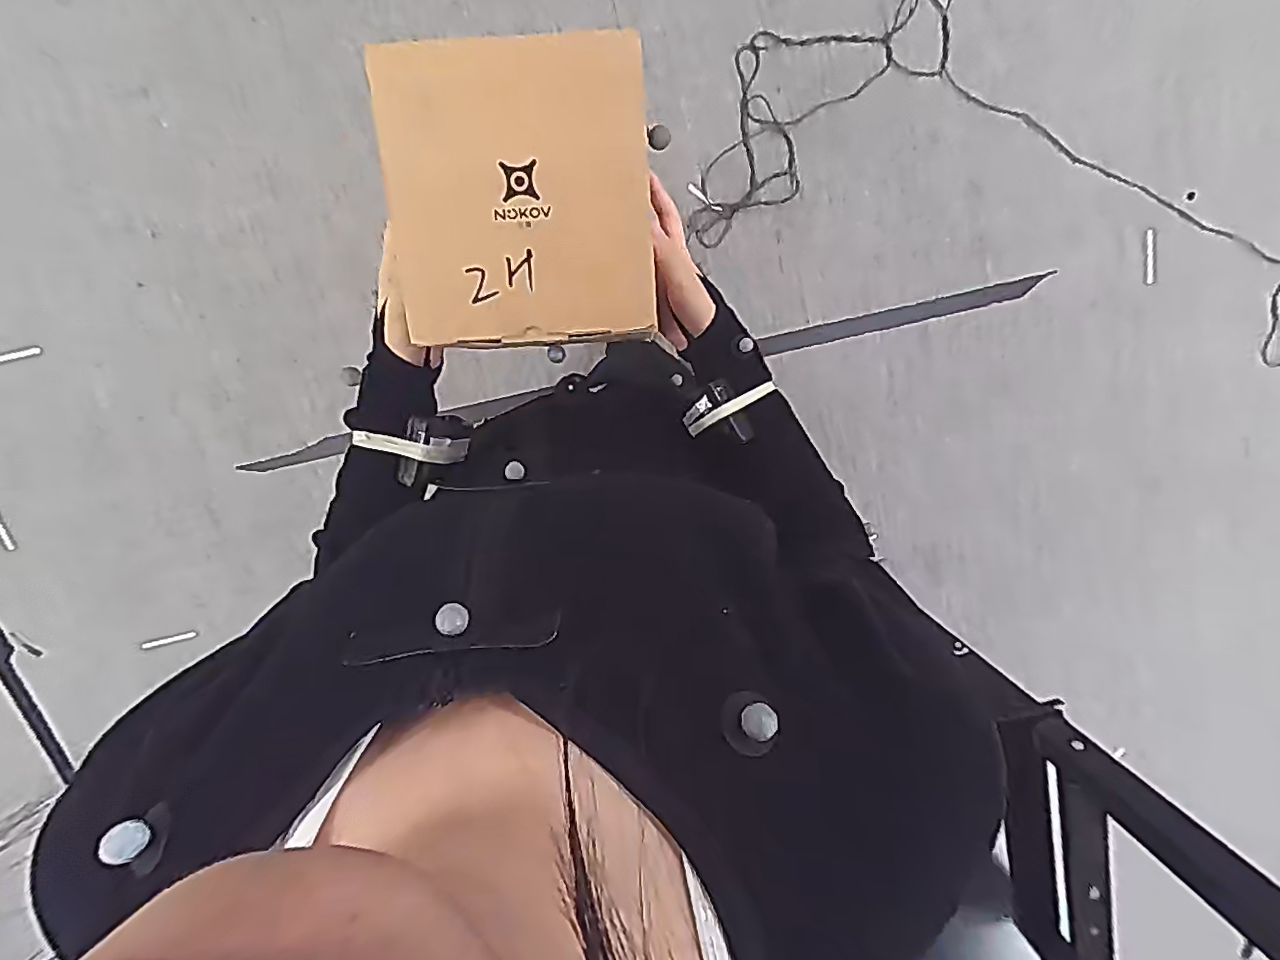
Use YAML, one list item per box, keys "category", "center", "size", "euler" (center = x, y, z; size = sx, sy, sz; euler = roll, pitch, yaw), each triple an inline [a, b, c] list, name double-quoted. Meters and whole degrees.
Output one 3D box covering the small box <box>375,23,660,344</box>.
- category: "small box"
  center: [-0.074, -0.201, 0.418]
  size: [0.168, 0.176, 0.179]
  euler: [-4, 103, 0]
